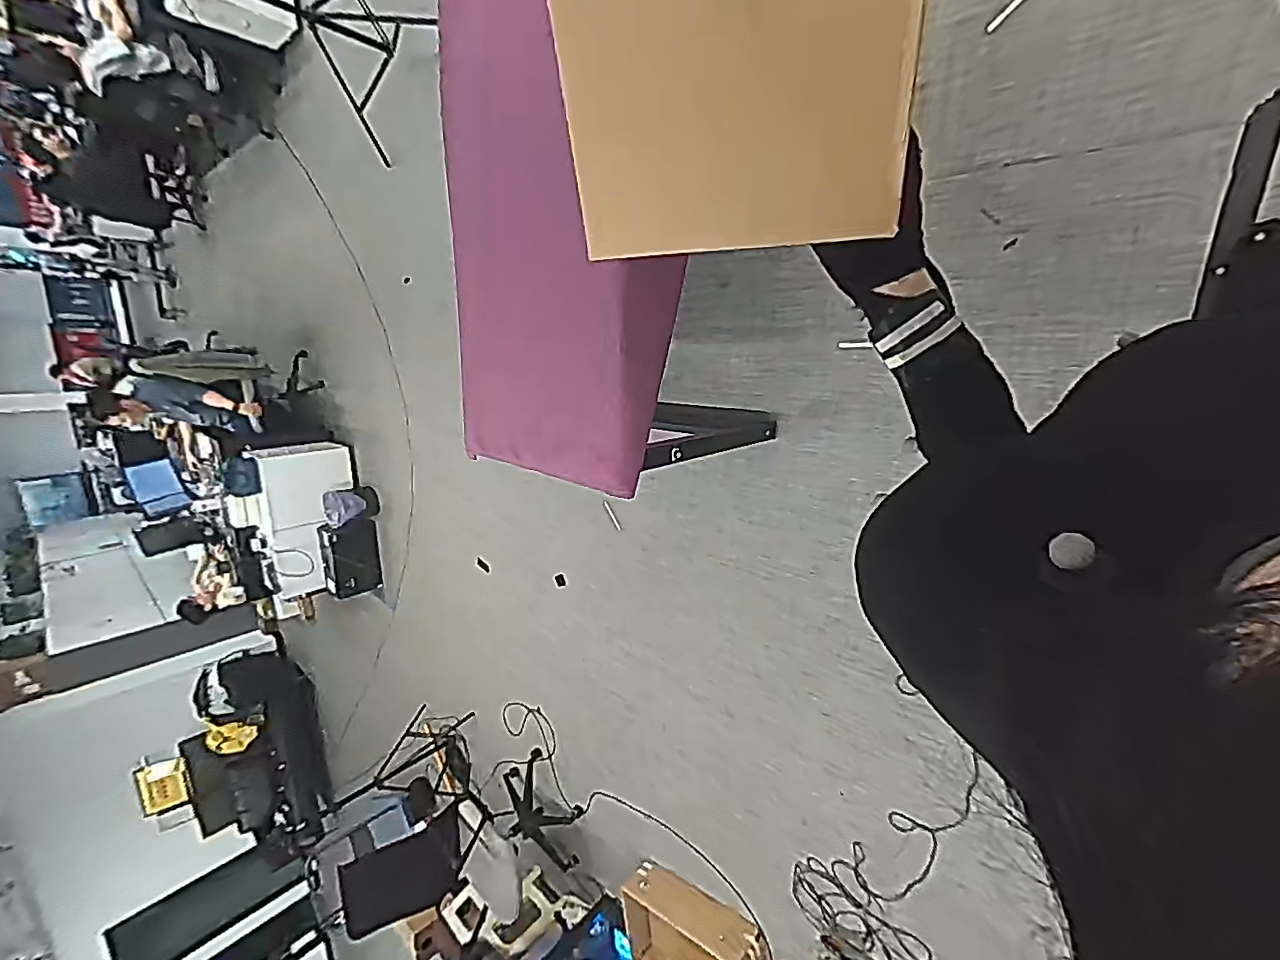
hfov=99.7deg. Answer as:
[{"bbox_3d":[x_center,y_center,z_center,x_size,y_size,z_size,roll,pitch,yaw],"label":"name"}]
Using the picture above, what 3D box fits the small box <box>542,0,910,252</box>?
[{"bbox_3d":[0.055,-0.246,0.312,0.168,0.179,0.176,1,125,17],"label":"small box"}]
